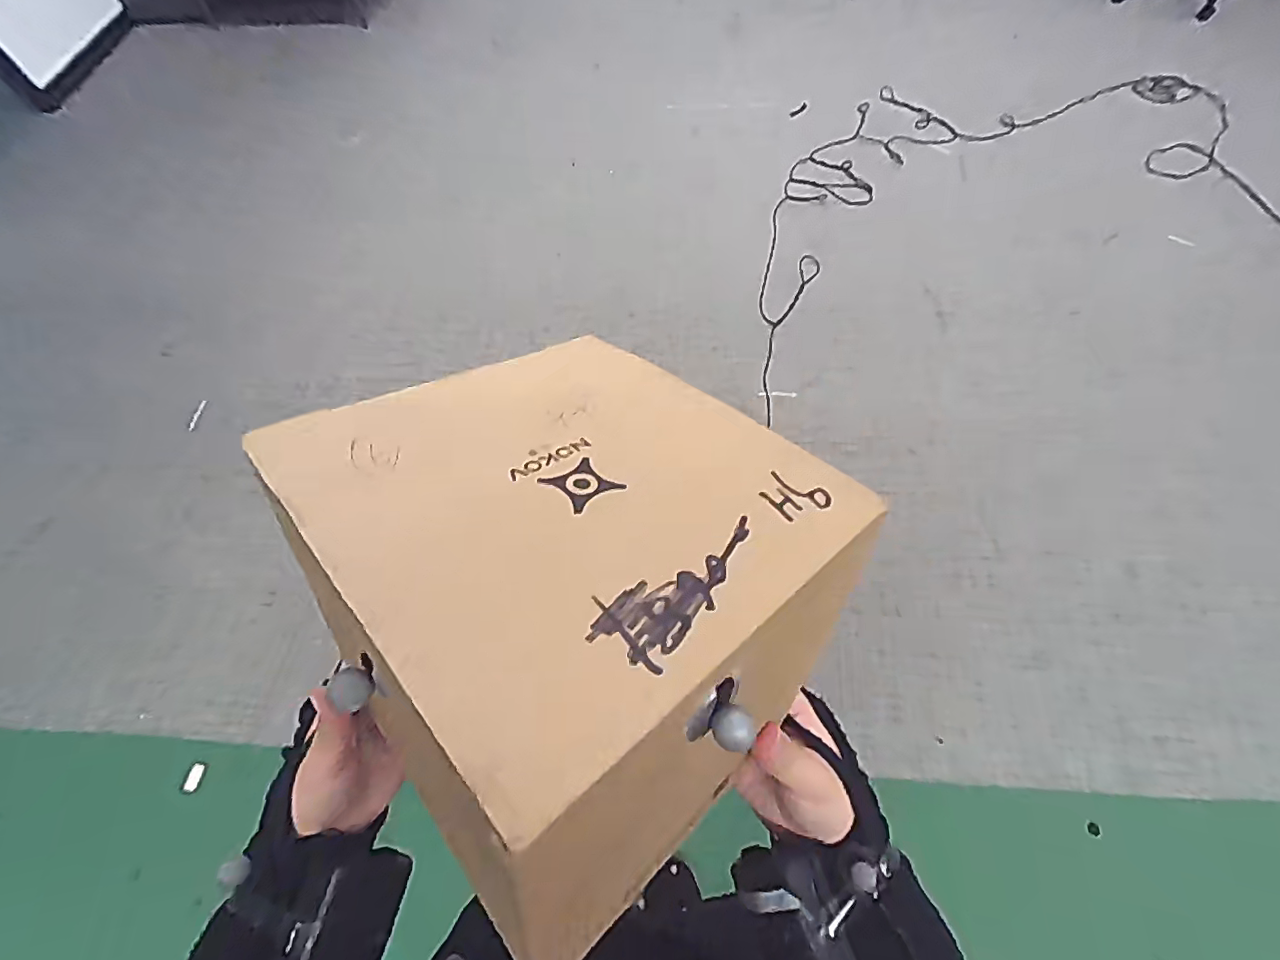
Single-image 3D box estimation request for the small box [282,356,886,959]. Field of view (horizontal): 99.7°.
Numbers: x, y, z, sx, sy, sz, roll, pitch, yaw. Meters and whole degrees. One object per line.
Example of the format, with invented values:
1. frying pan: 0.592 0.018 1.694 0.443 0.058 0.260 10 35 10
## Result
1. small box: -0.027 0.067 0.256 0.168 0.176 0.179 -30 50 -35
